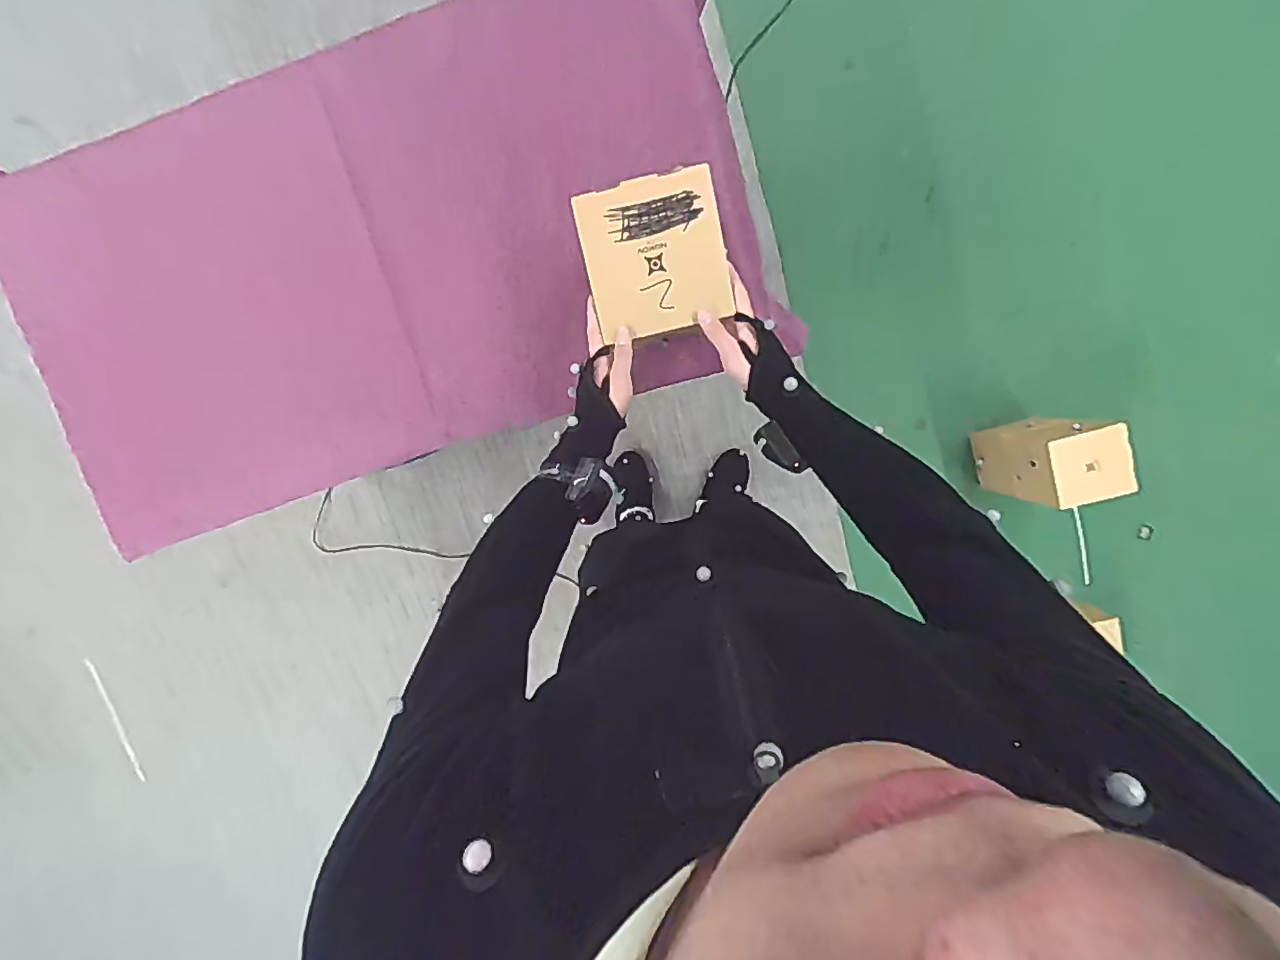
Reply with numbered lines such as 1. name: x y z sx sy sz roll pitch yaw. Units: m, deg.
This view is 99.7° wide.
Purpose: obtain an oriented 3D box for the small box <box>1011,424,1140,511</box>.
1. small box: 1.040 -0.034 1.311 0.179 0.176 0.168 -16 96 4

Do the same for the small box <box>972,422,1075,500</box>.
1. small box: 1.048 -0.058 1.471 0.179 0.176 0.168 -15 96 6

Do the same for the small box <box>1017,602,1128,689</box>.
1. small box: 1.217 0.461 1.530 0.179 0.176 0.168 -13 97 5
